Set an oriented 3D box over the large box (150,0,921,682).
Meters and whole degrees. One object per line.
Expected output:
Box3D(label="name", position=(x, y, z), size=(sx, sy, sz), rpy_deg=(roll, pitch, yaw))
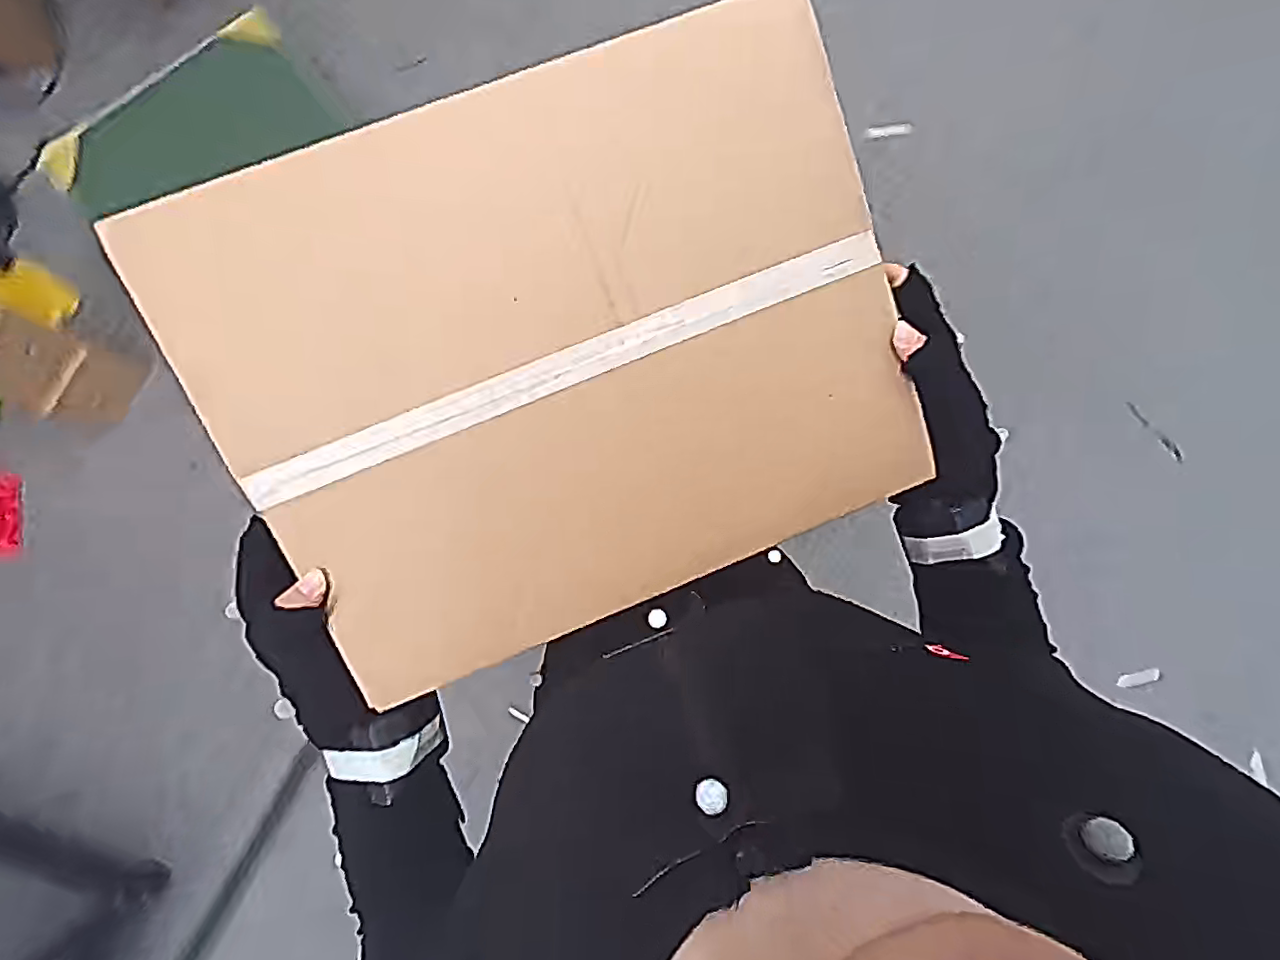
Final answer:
Box3D(label="large box", position=(-0.057, -0.101, 0.482), size=(0.408, 0.320, 0.320), rpy_deg=(-21, 103, -4))
